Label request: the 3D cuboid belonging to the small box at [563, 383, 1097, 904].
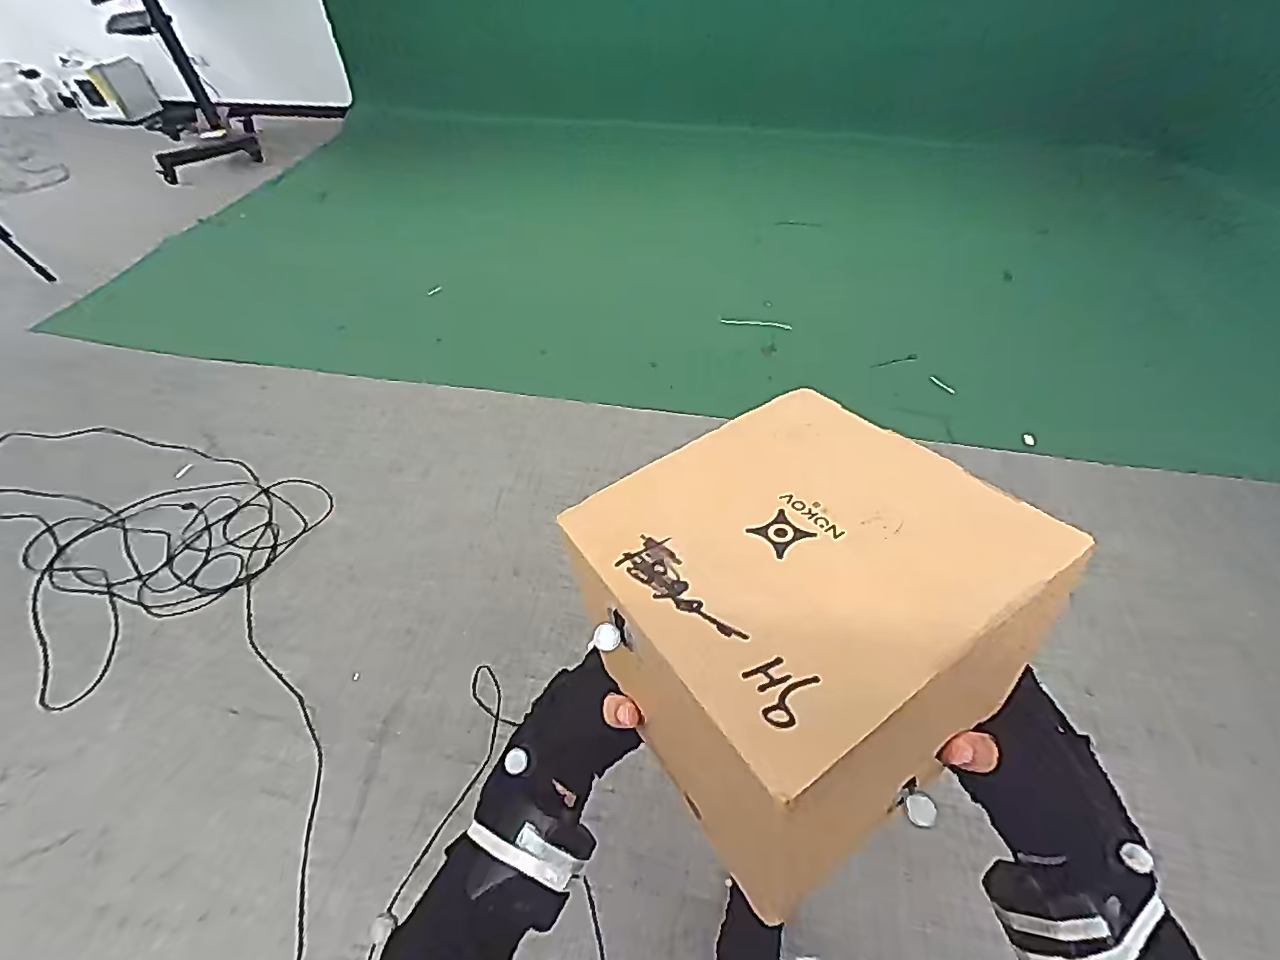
[{"bbox_3d":[0.083,0.078,0.297,0.179,0.176,0.168,-28,43,-20],"label":"small box"}]
